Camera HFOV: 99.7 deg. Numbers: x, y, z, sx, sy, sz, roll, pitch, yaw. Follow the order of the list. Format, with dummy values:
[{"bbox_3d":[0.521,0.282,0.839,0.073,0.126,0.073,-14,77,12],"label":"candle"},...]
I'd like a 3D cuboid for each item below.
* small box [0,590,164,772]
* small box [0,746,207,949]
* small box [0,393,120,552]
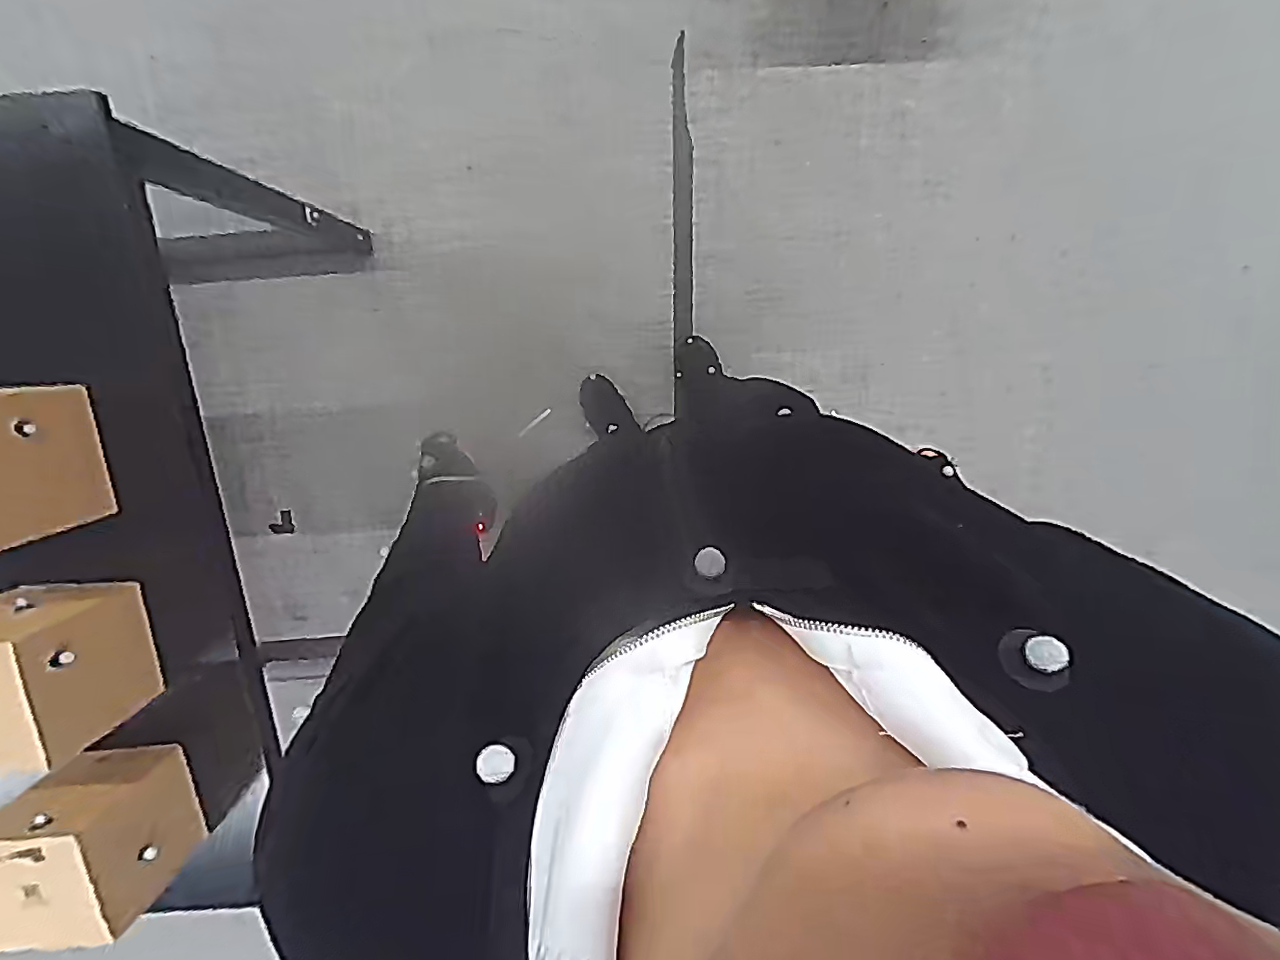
[{"bbox_3d":[-0.792,0.253,0.715,0.168,0.176,0.179,-2,103,0],"label":"small box"},{"bbox_3d":[-0.778,0.518,0.779,0.168,0.176,0.179,-5,104,0],"label":"small box"},{"bbox_3d":[-0.800,-0.013,0.653,0.168,0.176,0.179,-3,103,2],"label":"small box"}]
